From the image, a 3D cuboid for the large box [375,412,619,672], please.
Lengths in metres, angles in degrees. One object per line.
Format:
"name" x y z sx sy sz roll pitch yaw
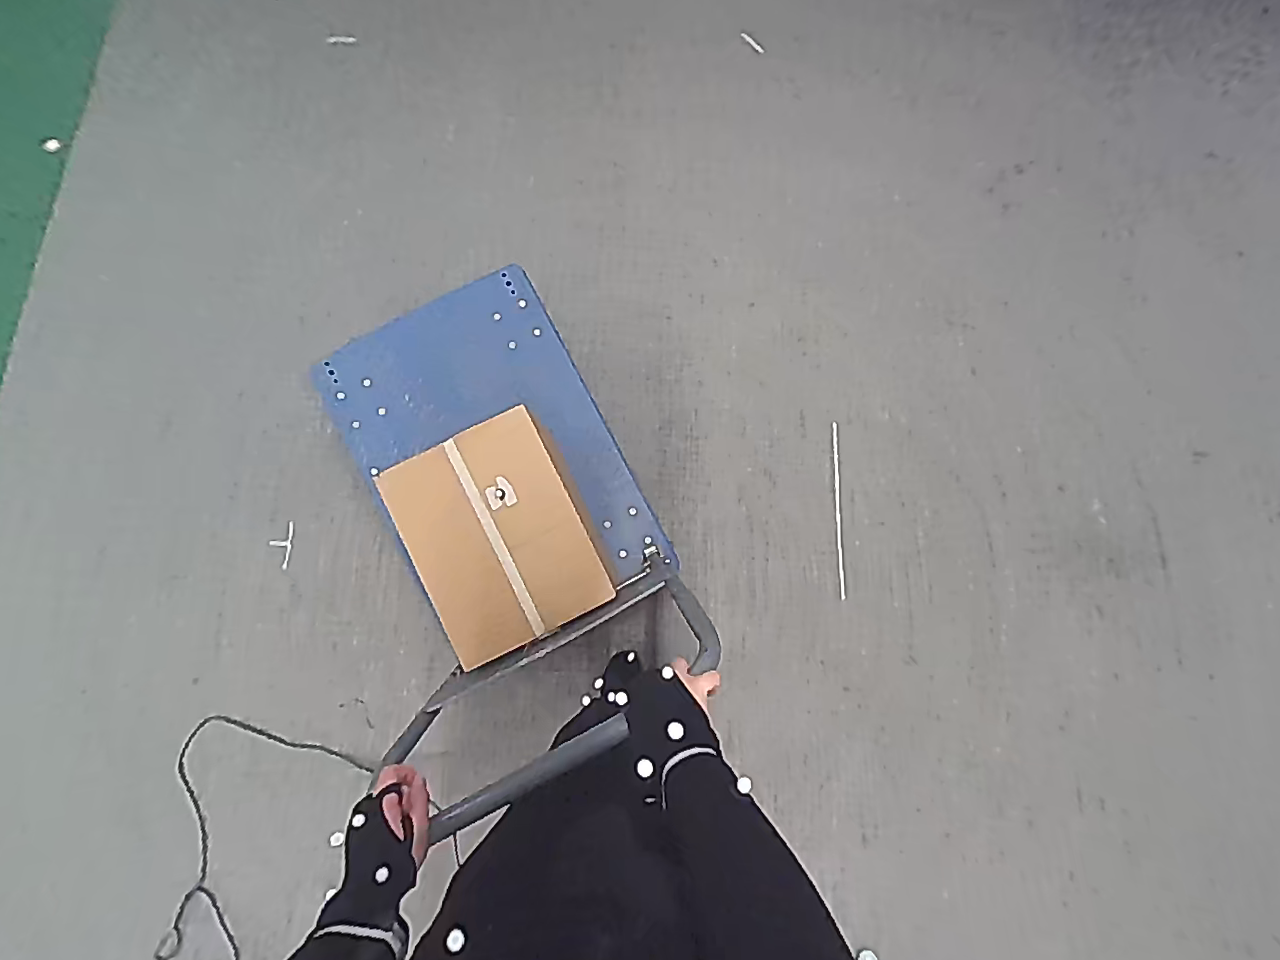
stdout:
"large box" -0.271 0.123 1.152 0.320 0.320 0.408 -27 87 -3
